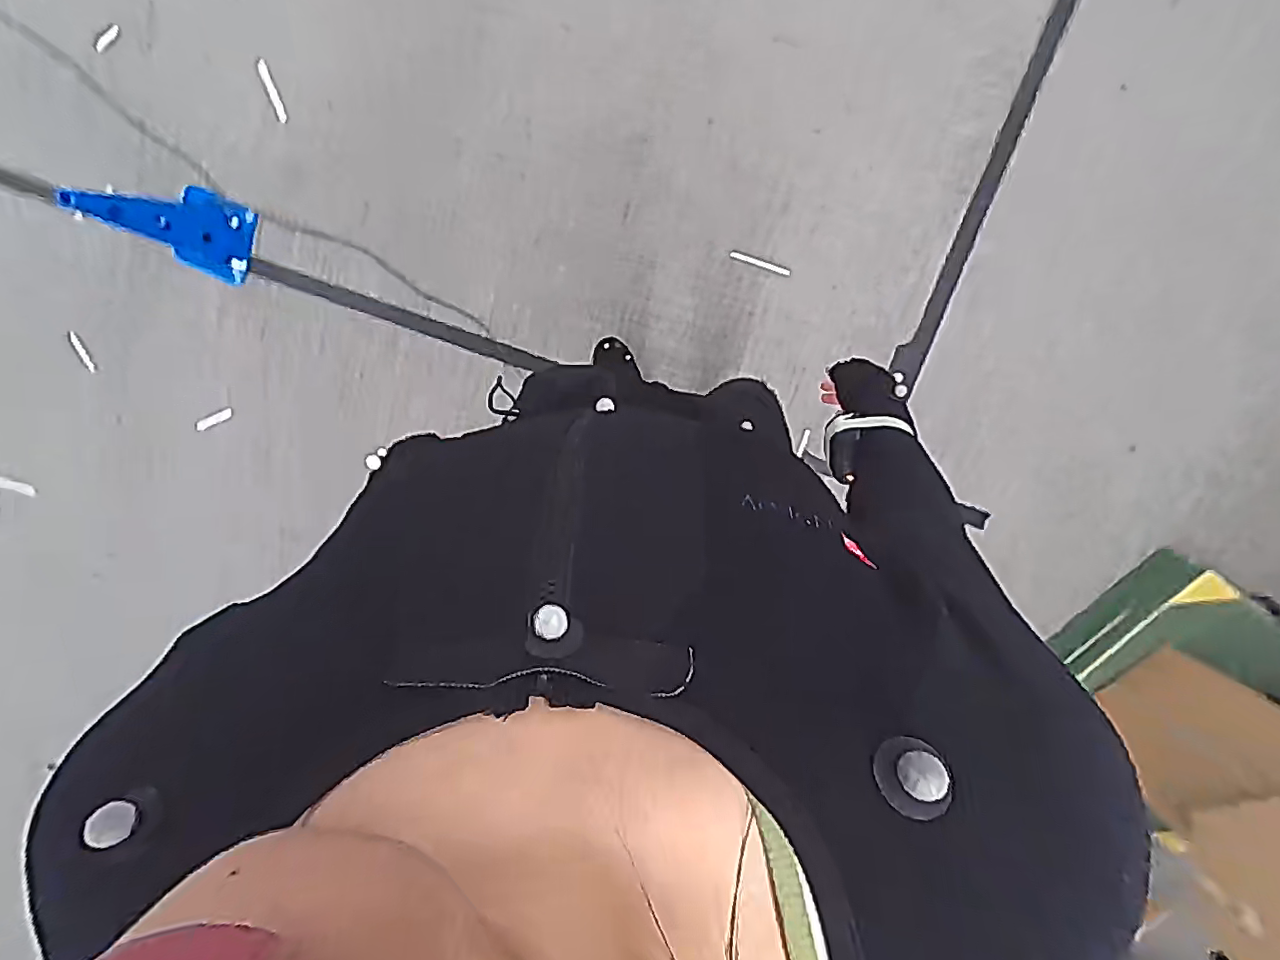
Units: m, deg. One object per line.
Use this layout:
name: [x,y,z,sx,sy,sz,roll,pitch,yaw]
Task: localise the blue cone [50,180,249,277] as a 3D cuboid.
blue cone: [-1.114,-0.601,1.220,0.192,0.380,0.193,22,103,-1]
